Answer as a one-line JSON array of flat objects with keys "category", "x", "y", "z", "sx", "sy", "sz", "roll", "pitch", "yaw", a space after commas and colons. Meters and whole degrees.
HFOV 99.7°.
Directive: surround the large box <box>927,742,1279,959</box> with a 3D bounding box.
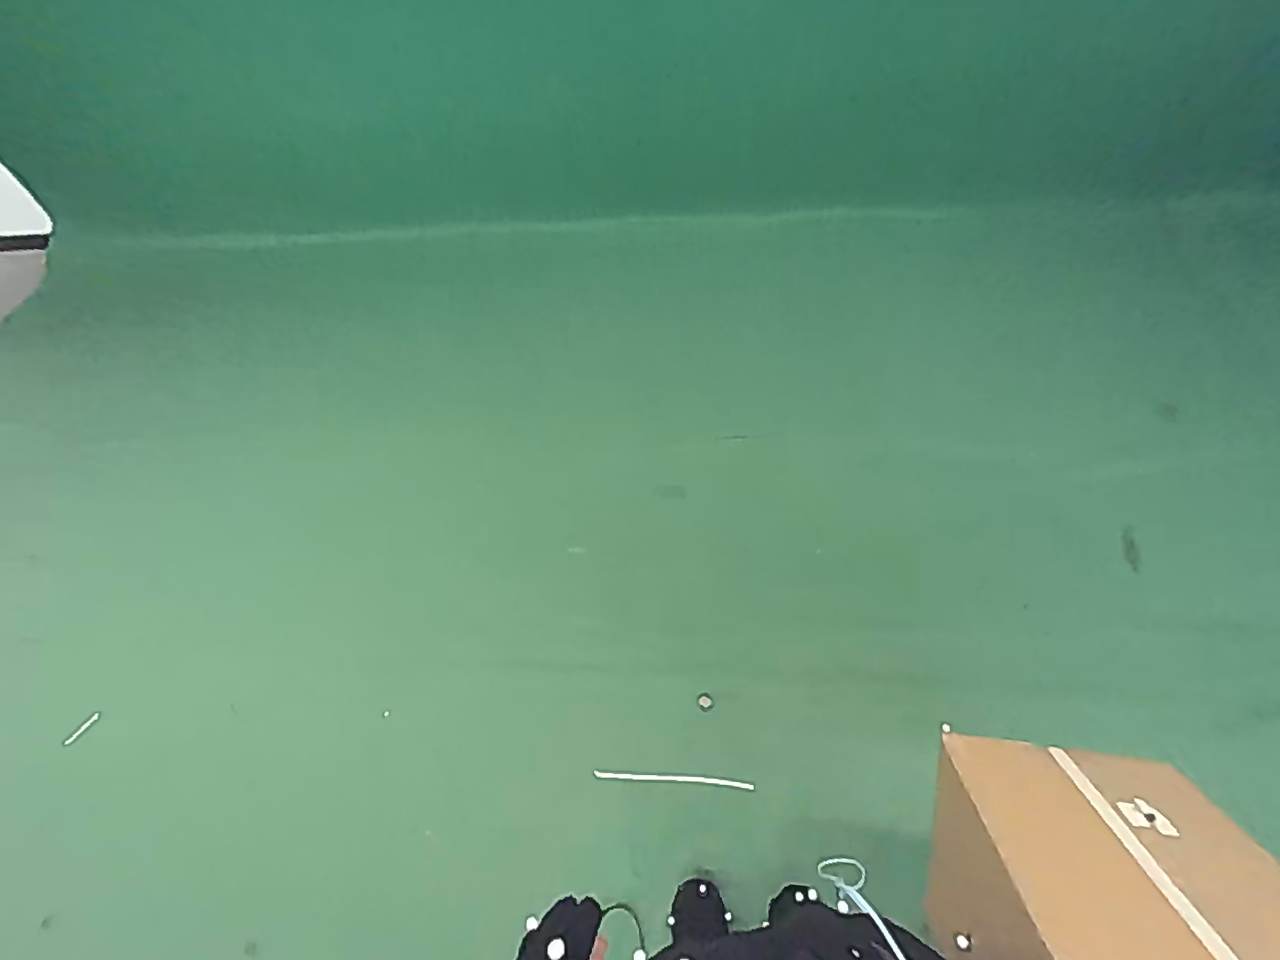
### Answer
[{"category": "large box", "x": 0.579, "y": 0.595, "z": 0.654, "sx": 0.320, "sy": 0.408, "sz": 0.320, "roll": 4, "pitch": 98, "yaw": 13}]
